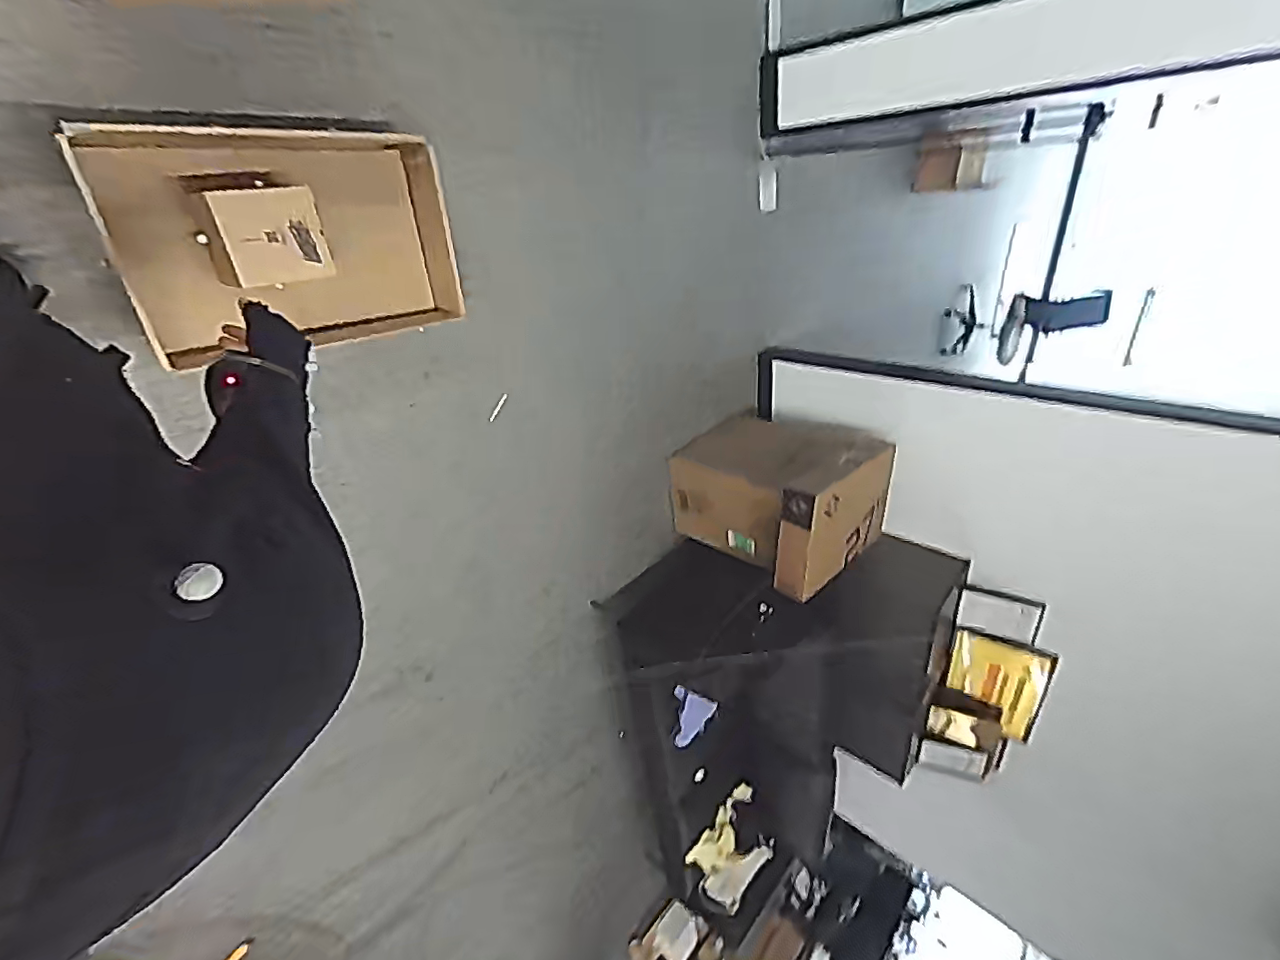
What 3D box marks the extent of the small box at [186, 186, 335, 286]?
[{"bbox_3d":[-0.749,-0.488,1.071,0.179,0.176,0.168,-29,127,-38],"label":"small box"}]
